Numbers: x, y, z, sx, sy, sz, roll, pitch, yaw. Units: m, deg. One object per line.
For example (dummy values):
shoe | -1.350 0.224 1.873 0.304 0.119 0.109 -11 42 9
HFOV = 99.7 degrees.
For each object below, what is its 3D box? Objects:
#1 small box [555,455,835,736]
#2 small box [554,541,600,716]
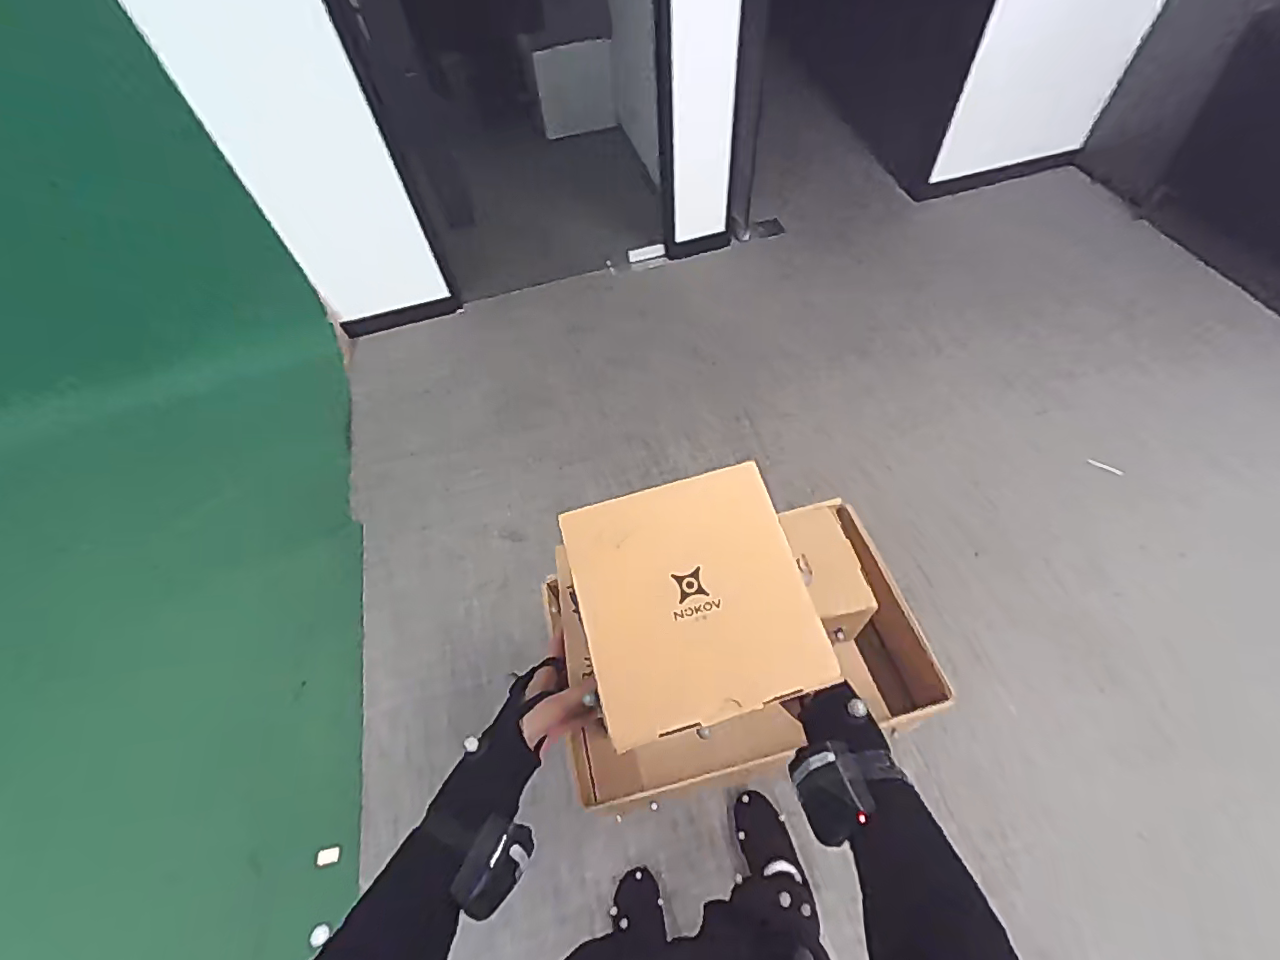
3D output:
small box | 0.034 0.108 0.467 0.168 0.176 0.179 -16 66 -5
small box | 0.004 0.166 0.628 0.179 0.176 0.168 -9 60 -3
